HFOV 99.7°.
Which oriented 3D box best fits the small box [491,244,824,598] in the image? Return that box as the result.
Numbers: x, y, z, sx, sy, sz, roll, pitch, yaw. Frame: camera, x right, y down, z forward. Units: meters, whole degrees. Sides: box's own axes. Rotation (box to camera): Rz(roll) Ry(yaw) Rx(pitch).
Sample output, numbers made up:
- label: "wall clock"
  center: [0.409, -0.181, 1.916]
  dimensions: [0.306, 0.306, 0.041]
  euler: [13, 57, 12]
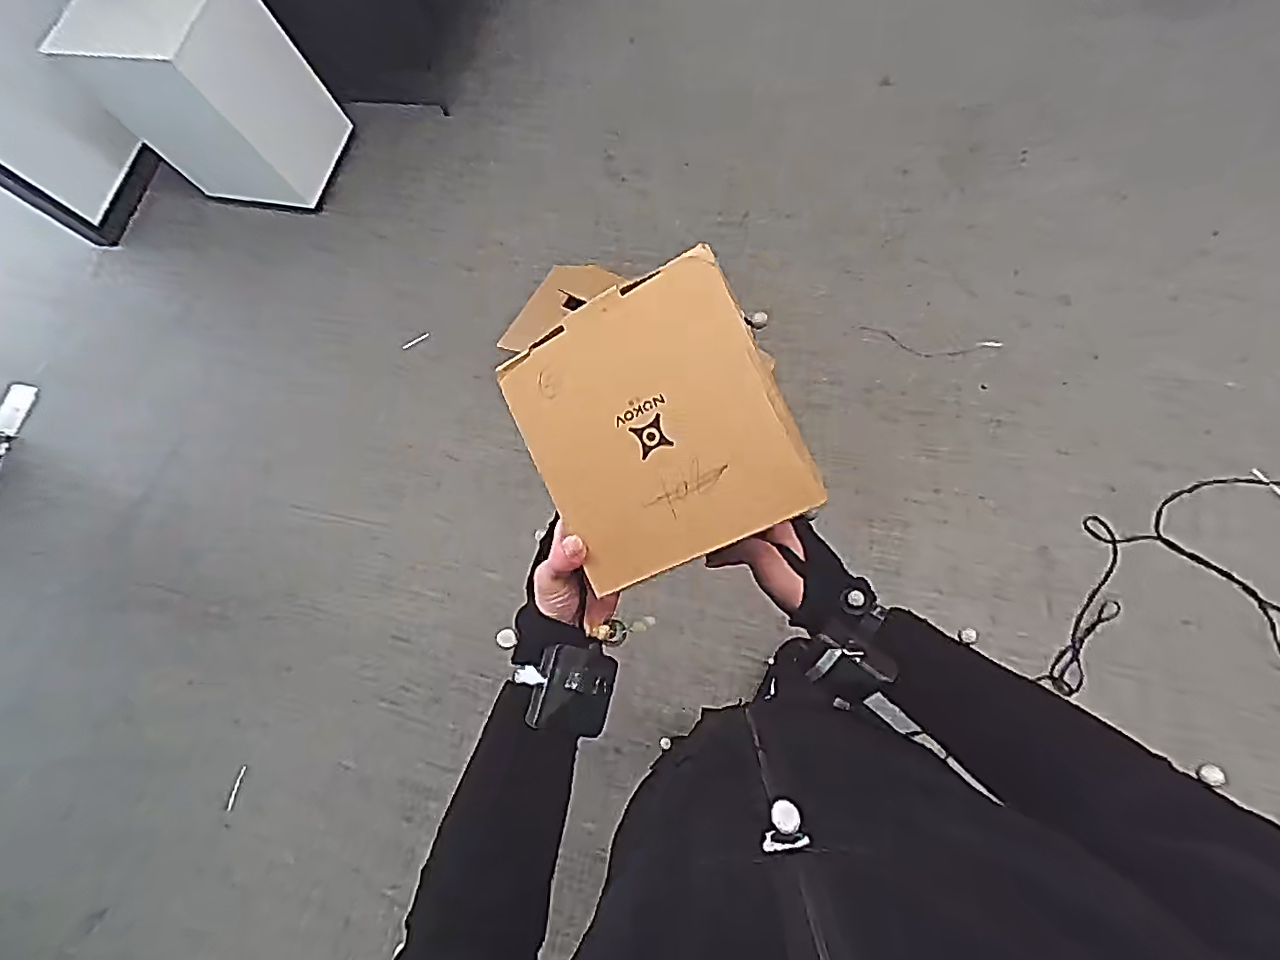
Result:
- label: "small box"
  center: [0.025, -0.036, 0.409]
  dimensions: [0.168, 0.176, 0.179]
  euler: [-23, 88, 19]
